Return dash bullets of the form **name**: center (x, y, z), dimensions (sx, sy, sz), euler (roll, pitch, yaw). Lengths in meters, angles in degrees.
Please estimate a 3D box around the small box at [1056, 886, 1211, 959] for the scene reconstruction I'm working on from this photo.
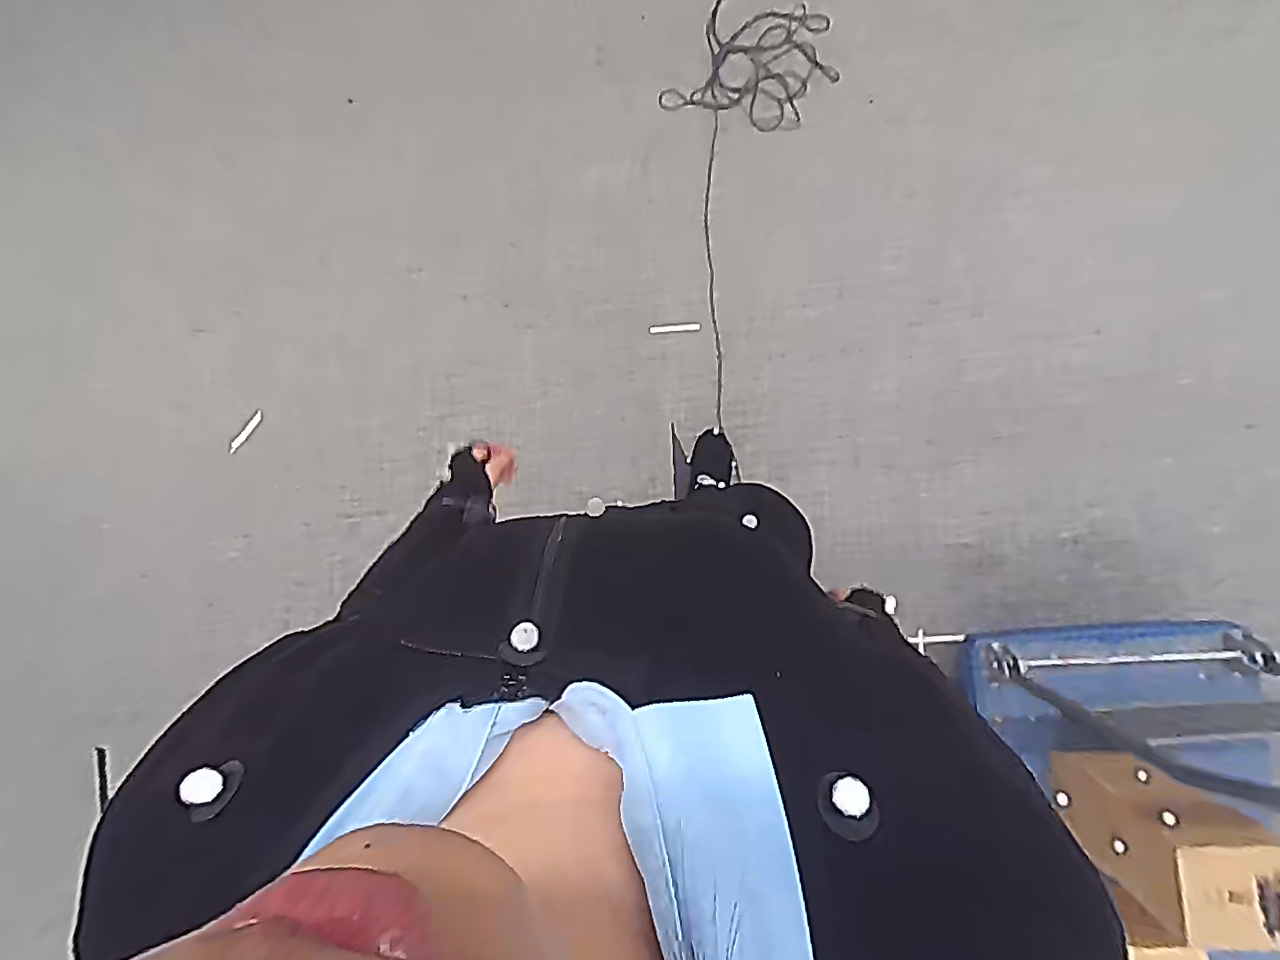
- **small box**: center (1.006, 0.972, 1.106), dimensions (0.179, 0.176, 0.168), euler (-8, 88, 6)

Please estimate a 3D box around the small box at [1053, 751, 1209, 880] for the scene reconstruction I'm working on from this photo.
- **small box**: center (0.996, 0.678, 1.110), dimensions (0.179, 0.176, 0.168), euler (-1, 88, 7)
